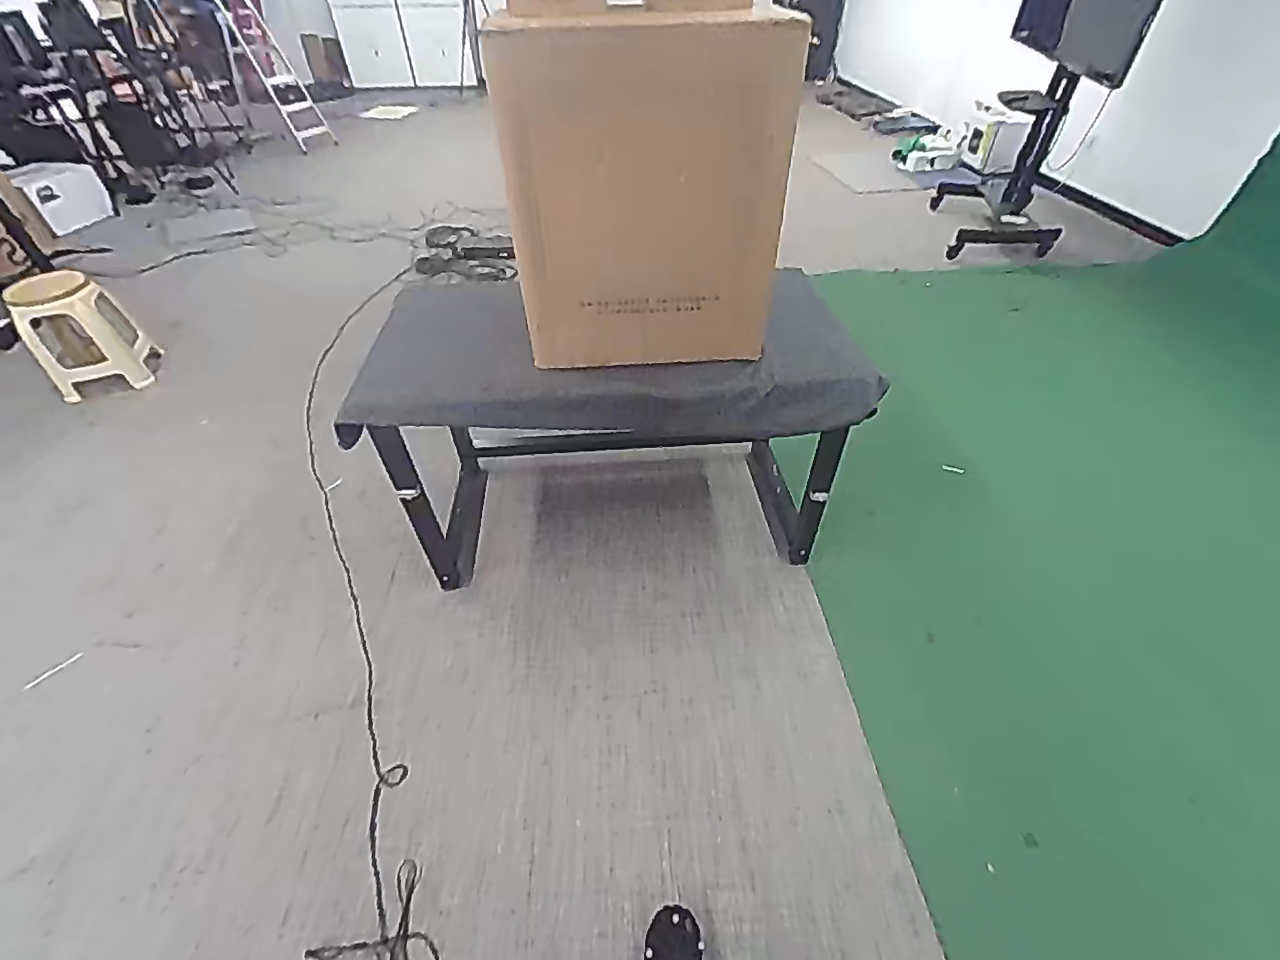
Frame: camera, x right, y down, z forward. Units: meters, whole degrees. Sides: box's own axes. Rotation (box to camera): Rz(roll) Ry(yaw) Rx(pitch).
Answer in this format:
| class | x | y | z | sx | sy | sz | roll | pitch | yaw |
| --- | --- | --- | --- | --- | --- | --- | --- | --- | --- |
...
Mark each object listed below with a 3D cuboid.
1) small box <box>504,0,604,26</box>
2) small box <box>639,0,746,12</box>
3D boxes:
| class | x | y | z | sx | sy | sz | roll | pitch | yaw |
| --- | --- | --- | --- | --- | --- | --- | --- | --- | --- |
| small box | -0.151 | -0.871 | 0.893 | 0.168 | 0.176 | 0.179 | -7 | 48 | -1 |
| small box | 0.087 | -0.907 | 0.913 | 0.168 | 0.176 | 0.179 | -8 | 45 | -6 |
